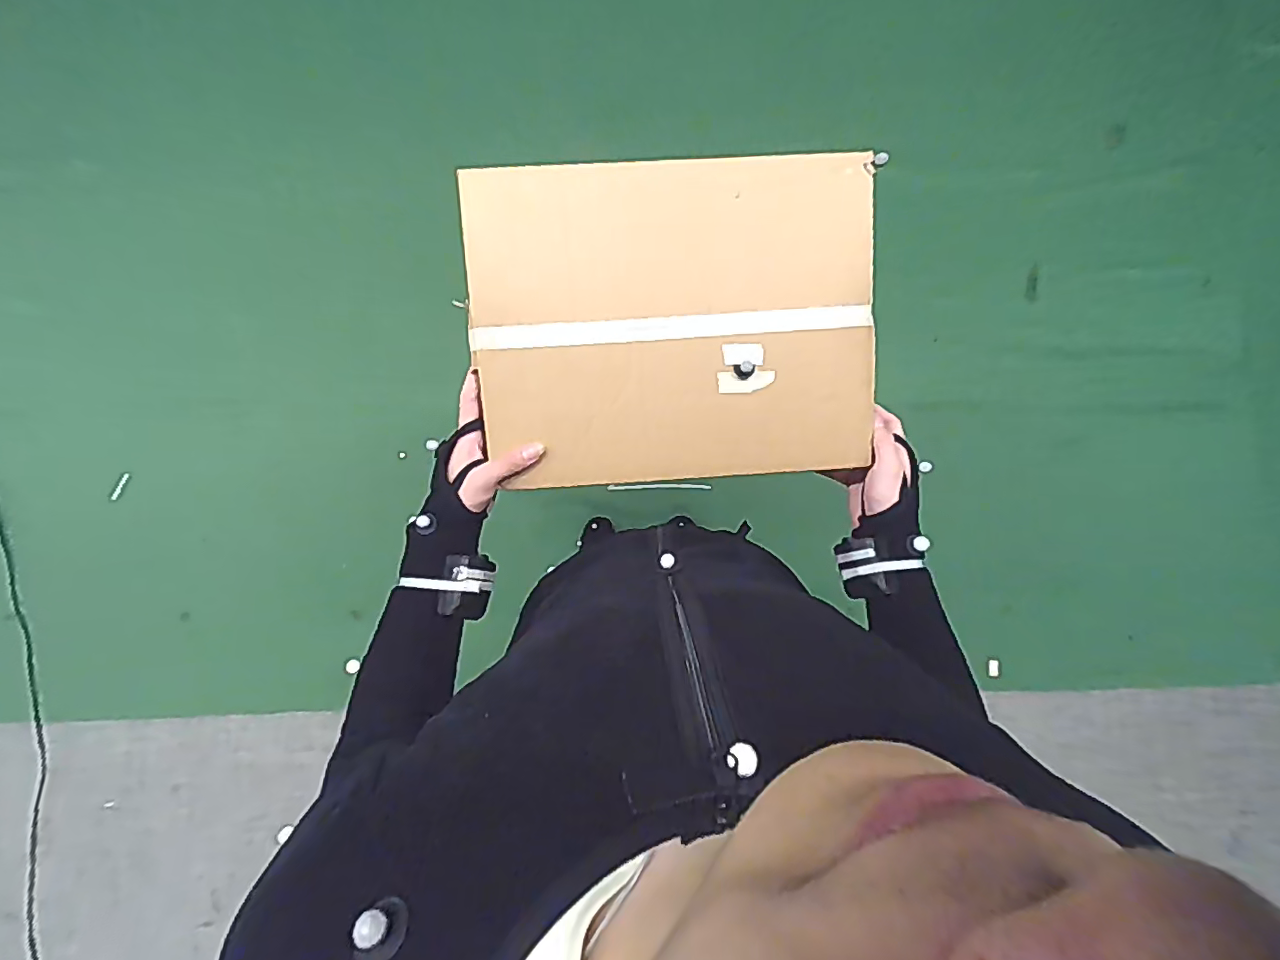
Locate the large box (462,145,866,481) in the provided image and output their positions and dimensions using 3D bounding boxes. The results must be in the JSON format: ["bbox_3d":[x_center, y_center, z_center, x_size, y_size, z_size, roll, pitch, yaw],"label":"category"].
[{"bbox_3d":[0.026,-0.189,0.699,0.408,0.320,0.320,-4,100,-3],"label":"large box"}]
